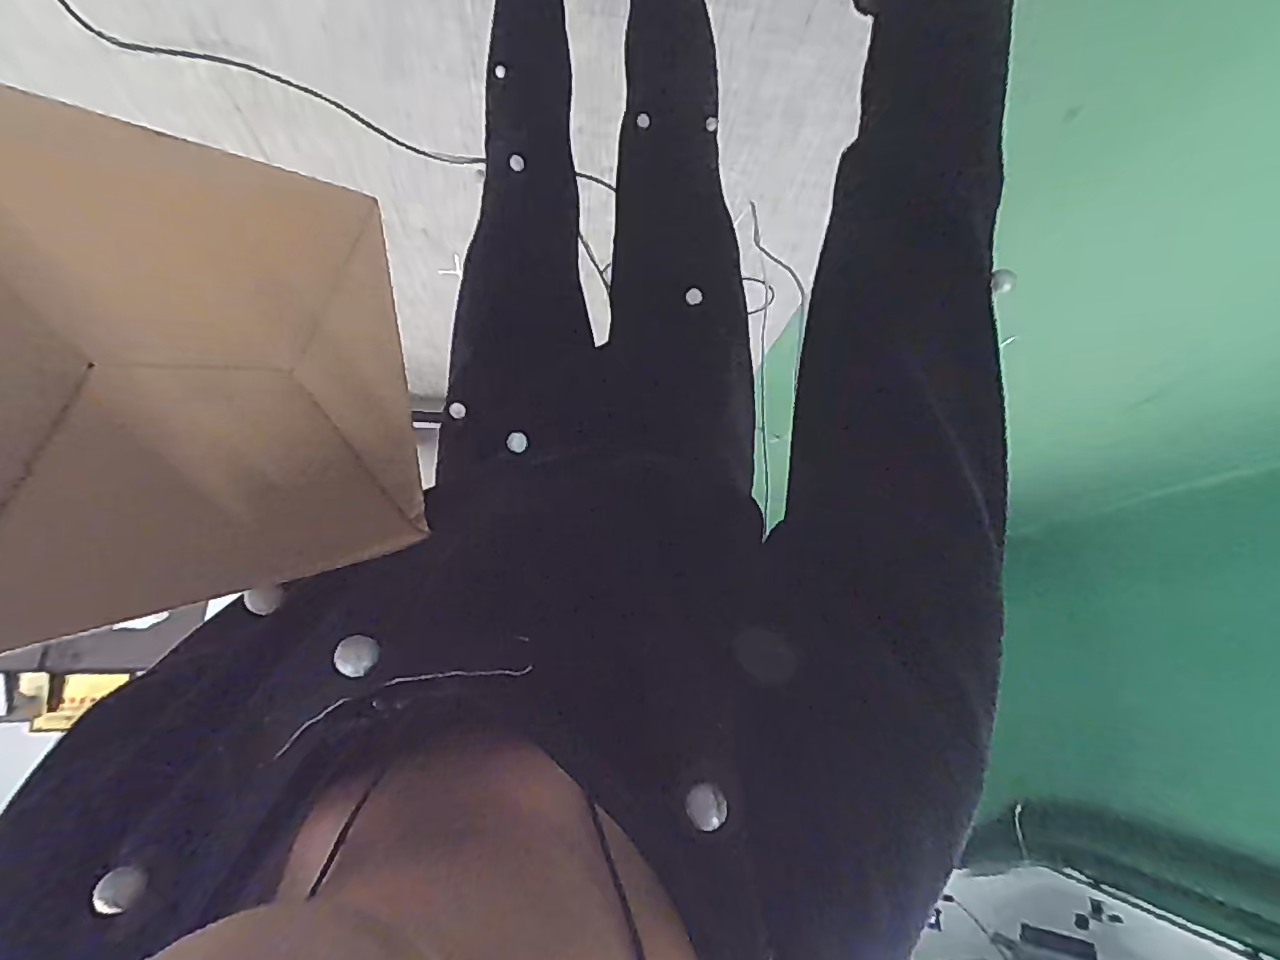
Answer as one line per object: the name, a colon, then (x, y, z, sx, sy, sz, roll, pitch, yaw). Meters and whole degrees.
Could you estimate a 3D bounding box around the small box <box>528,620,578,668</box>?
small box: (-0.336, 0.627, 2.073, 0.168, 0.176, 0.179, 6, 161, -17)
